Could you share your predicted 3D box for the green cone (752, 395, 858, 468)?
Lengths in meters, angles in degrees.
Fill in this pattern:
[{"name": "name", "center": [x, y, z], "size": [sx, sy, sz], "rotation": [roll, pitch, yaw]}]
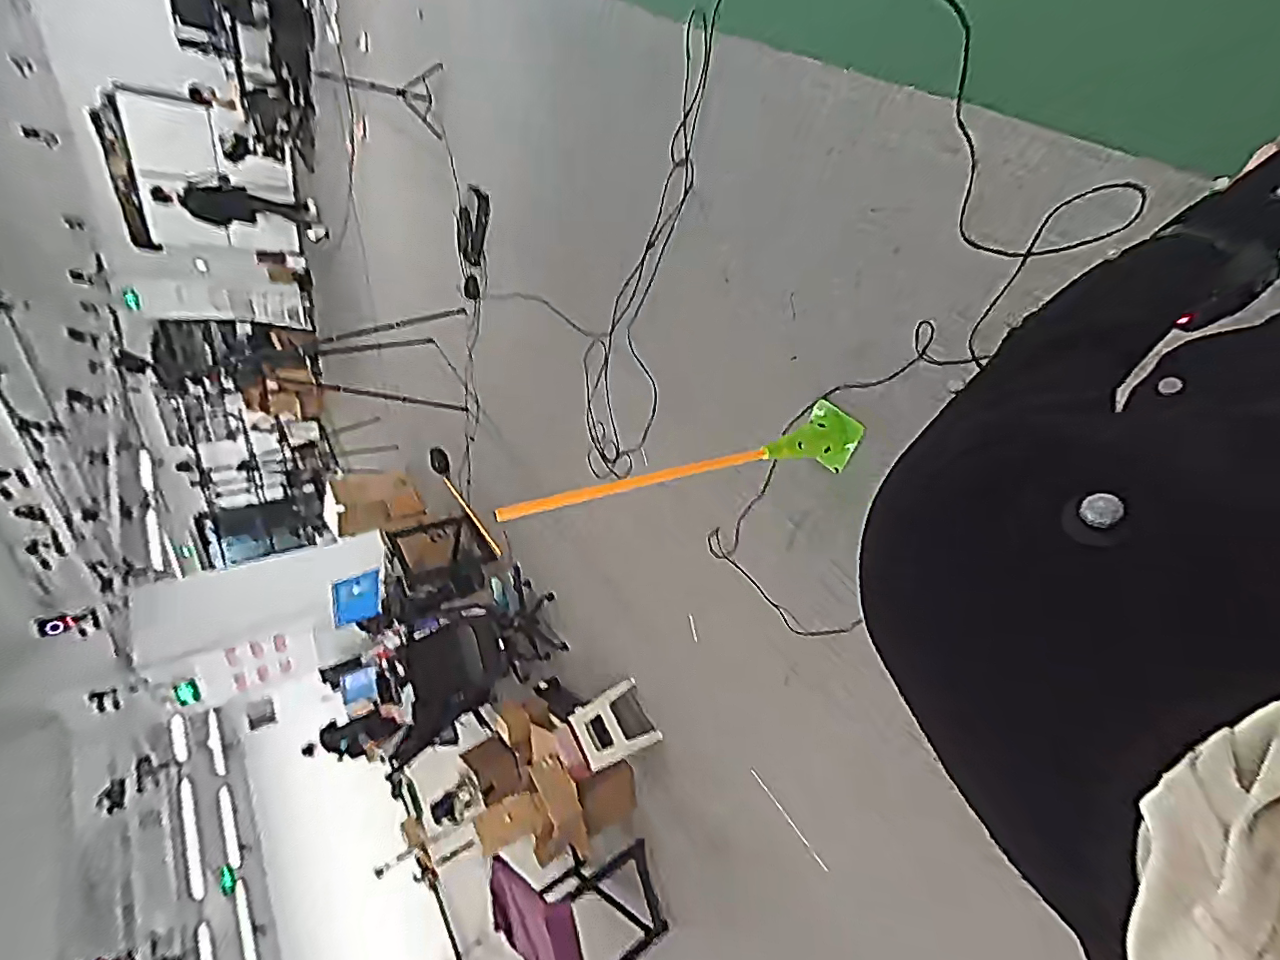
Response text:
[{"name": "green cone", "center": [0.509, -0.139, 1.777], "size": [0.202, 0.368, 0.200], "rotation": [47, 135, 35]}]
